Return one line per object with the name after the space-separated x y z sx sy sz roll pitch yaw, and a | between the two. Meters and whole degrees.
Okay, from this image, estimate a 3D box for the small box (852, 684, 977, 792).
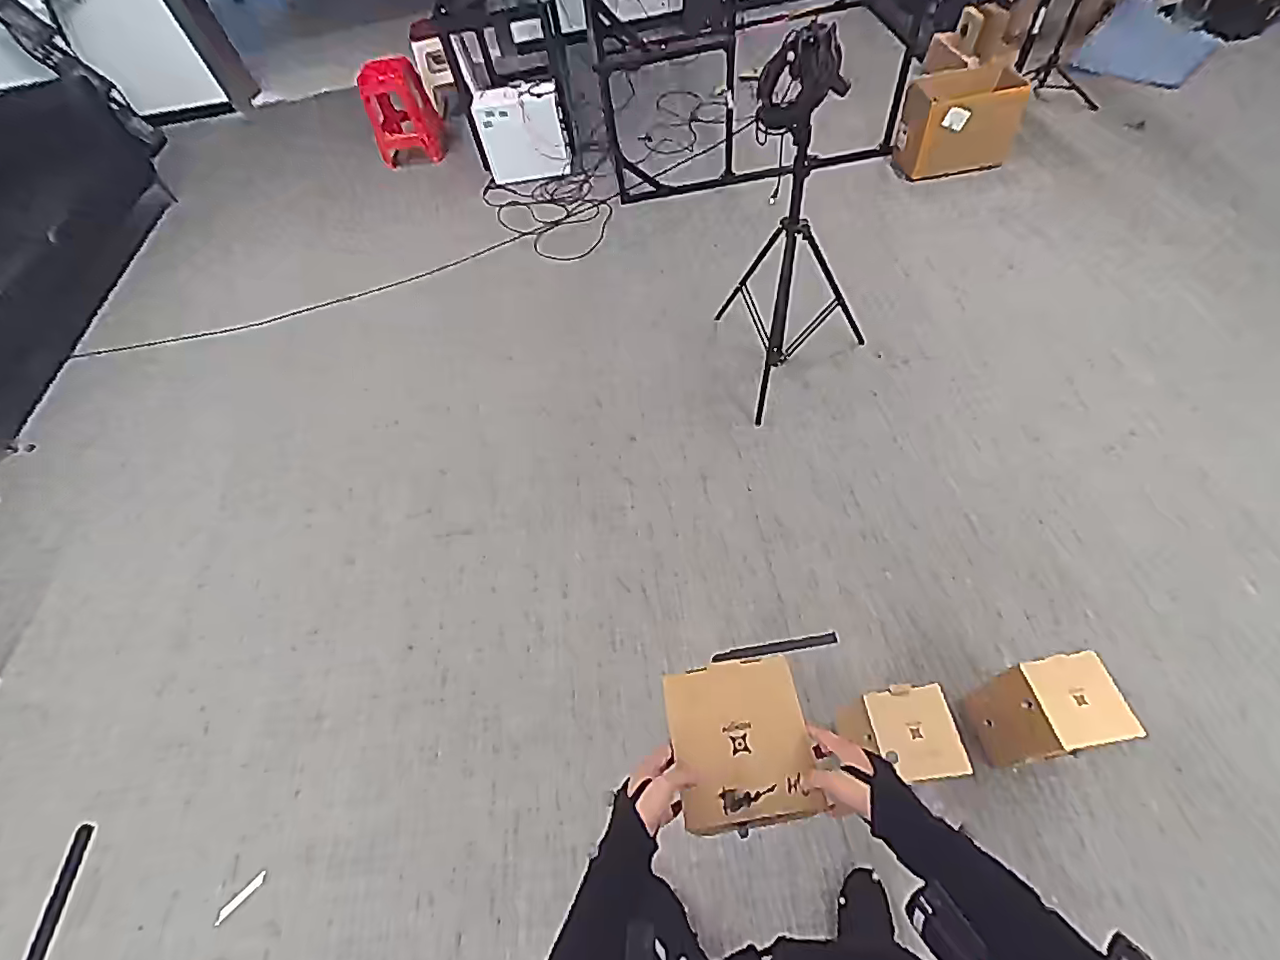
0.577 0.561 1.168 0.168 0.176 0.179 -9 56 3 | small box

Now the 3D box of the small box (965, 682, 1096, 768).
0.929 0.584 1.303 0.168 0.176 0.179 -11 55 0 | small box

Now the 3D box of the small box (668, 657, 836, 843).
0.134 0.355 0.705 0.168 0.176 0.179 -11 53 2 | small box

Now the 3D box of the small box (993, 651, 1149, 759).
0.914 0.493 1.169 0.168 0.176 0.179 -11 55 0 | small box

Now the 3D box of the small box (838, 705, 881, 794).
0.595 0.646 1.307 0.168 0.176 0.179 -9 56 2 | small box
